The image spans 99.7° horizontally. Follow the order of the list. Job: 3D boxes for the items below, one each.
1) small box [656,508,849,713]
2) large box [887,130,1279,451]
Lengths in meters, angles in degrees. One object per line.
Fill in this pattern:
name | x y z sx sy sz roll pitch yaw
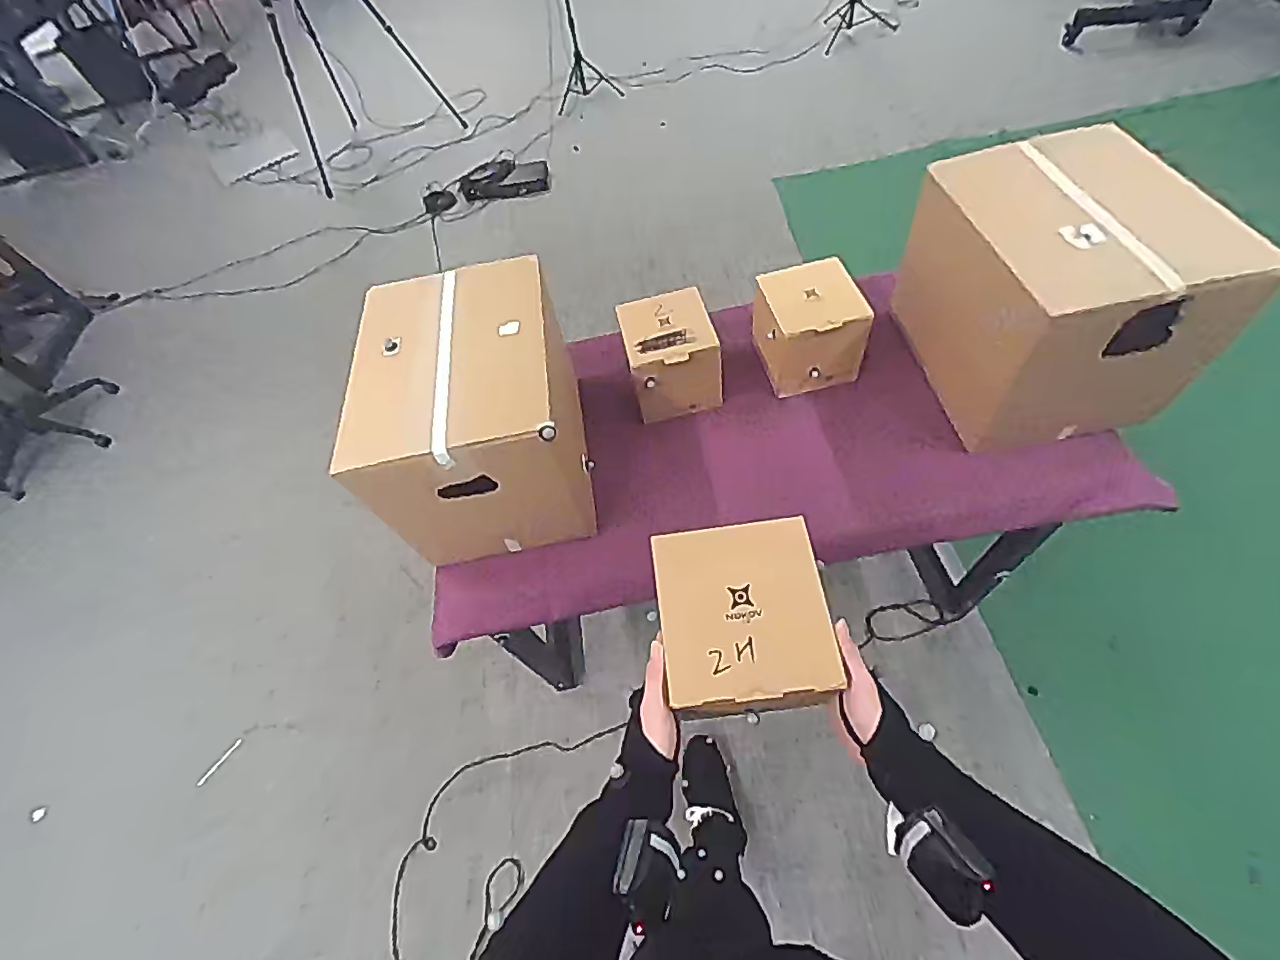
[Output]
small box | 0.113 0.153 0.606 0.168 0.176 0.179 -9 61 4
large box | 0.682 -0.317 0.926 0.320 0.320 0.408 -11 57 4
